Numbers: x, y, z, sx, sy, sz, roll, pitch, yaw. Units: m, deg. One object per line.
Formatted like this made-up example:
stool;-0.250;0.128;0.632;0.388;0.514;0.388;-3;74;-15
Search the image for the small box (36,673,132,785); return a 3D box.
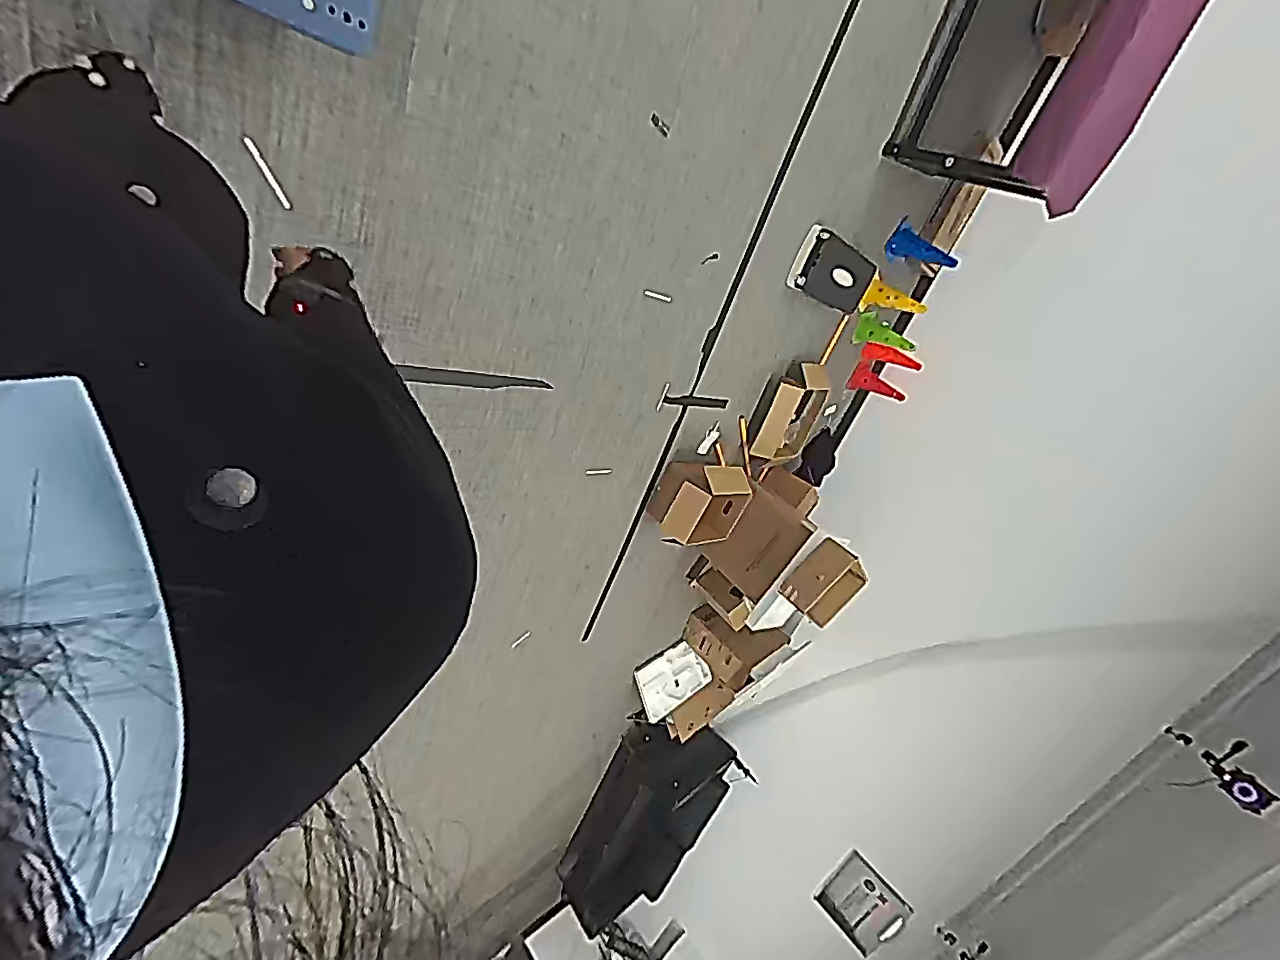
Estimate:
small box;-1.473;0.653;1.437;0.168;0.176;0.179;-8;127;-47
